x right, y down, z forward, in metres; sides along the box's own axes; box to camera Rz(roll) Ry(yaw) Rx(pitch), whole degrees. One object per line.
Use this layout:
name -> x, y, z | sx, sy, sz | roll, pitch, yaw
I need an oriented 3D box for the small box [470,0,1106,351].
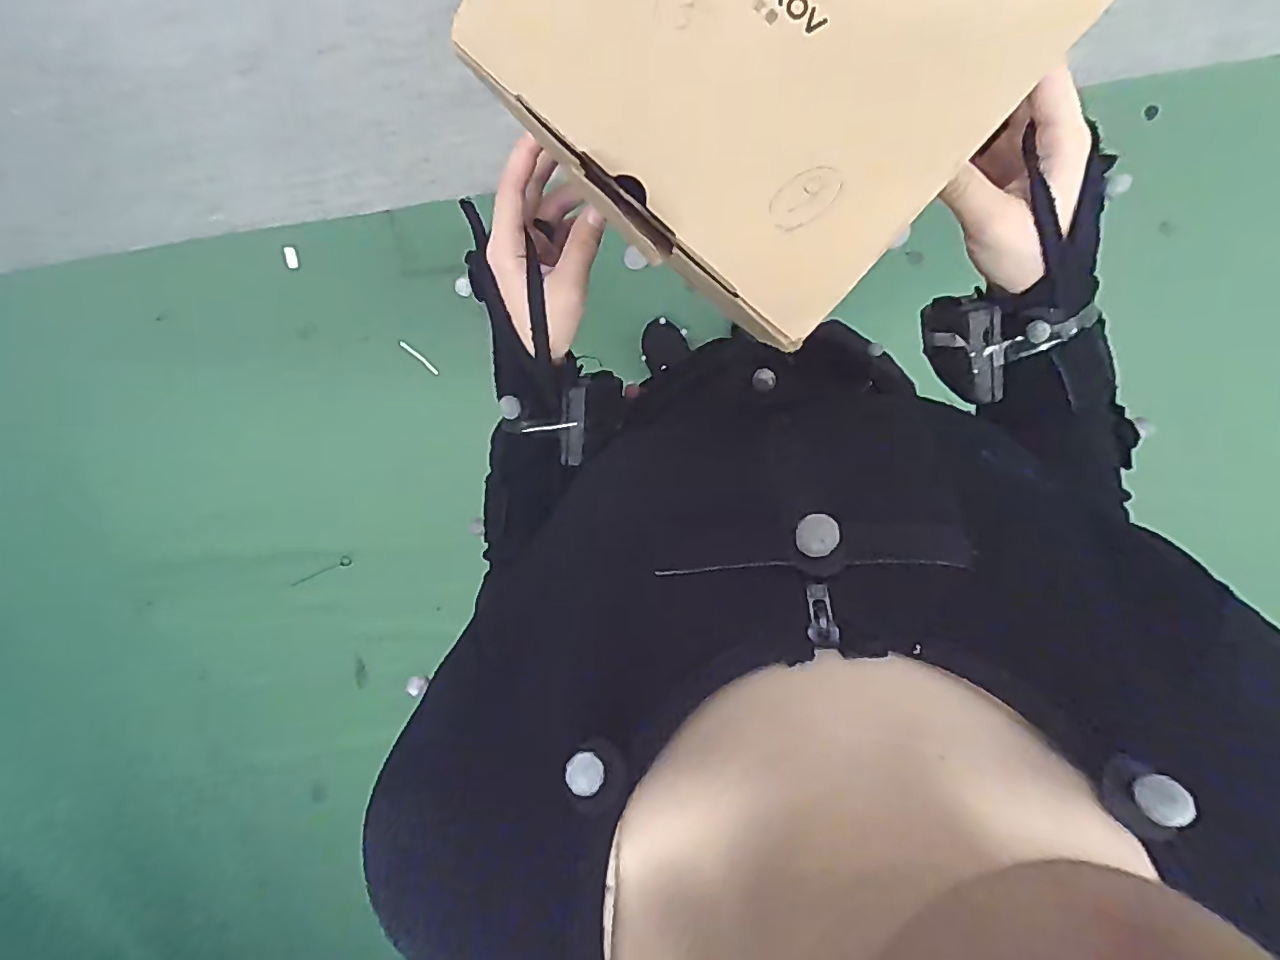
small box -> 0.060, -0.184, 0.261 | 0.168, 0.176, 0.179 | 40, 107, -5
